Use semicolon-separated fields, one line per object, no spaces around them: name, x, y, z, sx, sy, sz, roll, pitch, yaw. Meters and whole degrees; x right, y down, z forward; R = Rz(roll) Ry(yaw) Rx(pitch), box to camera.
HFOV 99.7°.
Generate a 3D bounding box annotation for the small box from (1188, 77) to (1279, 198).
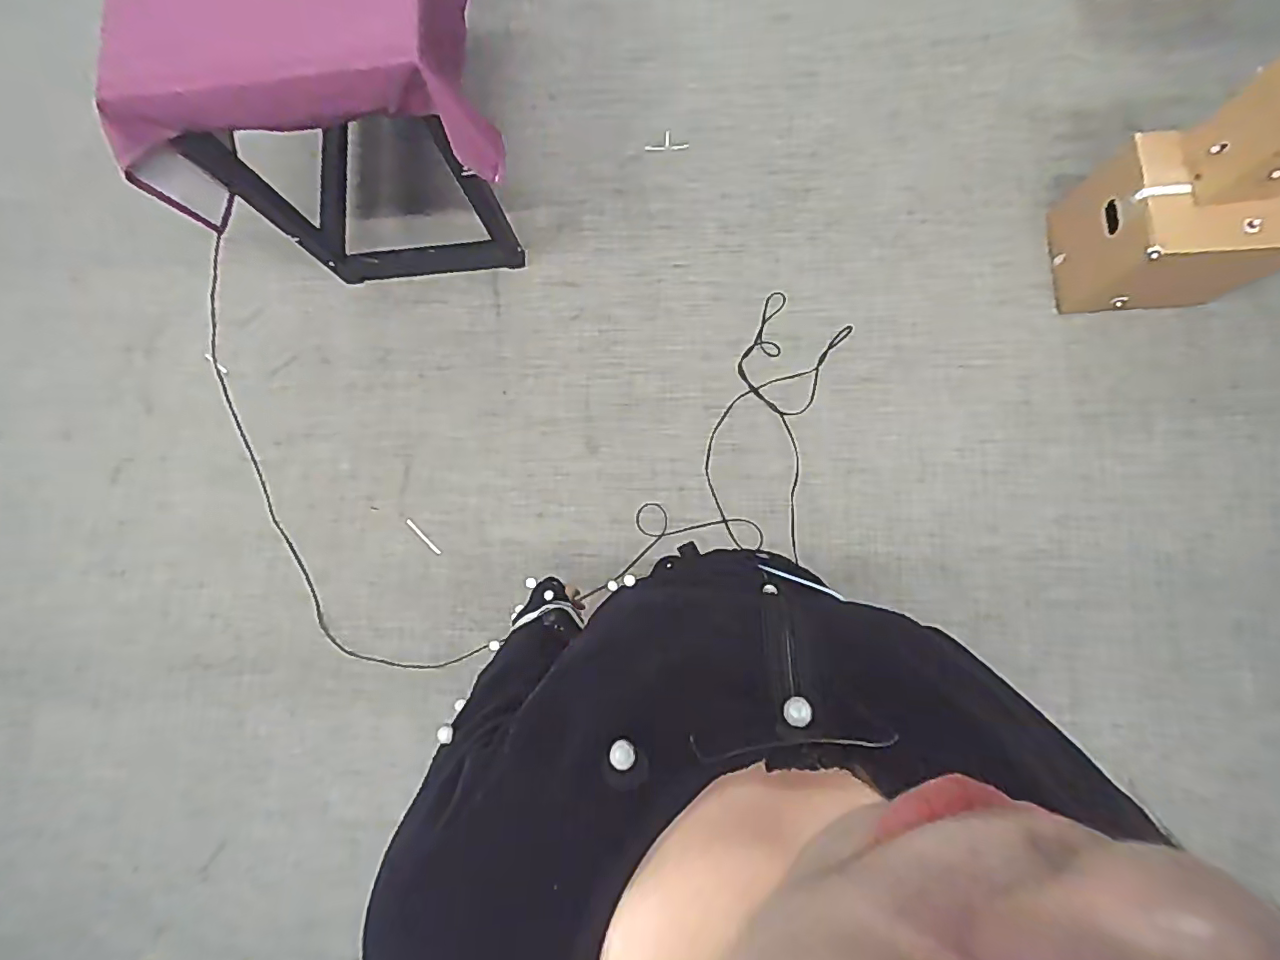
small box;1.341;-0.733;1.159;0.179;0.176;0.168;-5;81;4
